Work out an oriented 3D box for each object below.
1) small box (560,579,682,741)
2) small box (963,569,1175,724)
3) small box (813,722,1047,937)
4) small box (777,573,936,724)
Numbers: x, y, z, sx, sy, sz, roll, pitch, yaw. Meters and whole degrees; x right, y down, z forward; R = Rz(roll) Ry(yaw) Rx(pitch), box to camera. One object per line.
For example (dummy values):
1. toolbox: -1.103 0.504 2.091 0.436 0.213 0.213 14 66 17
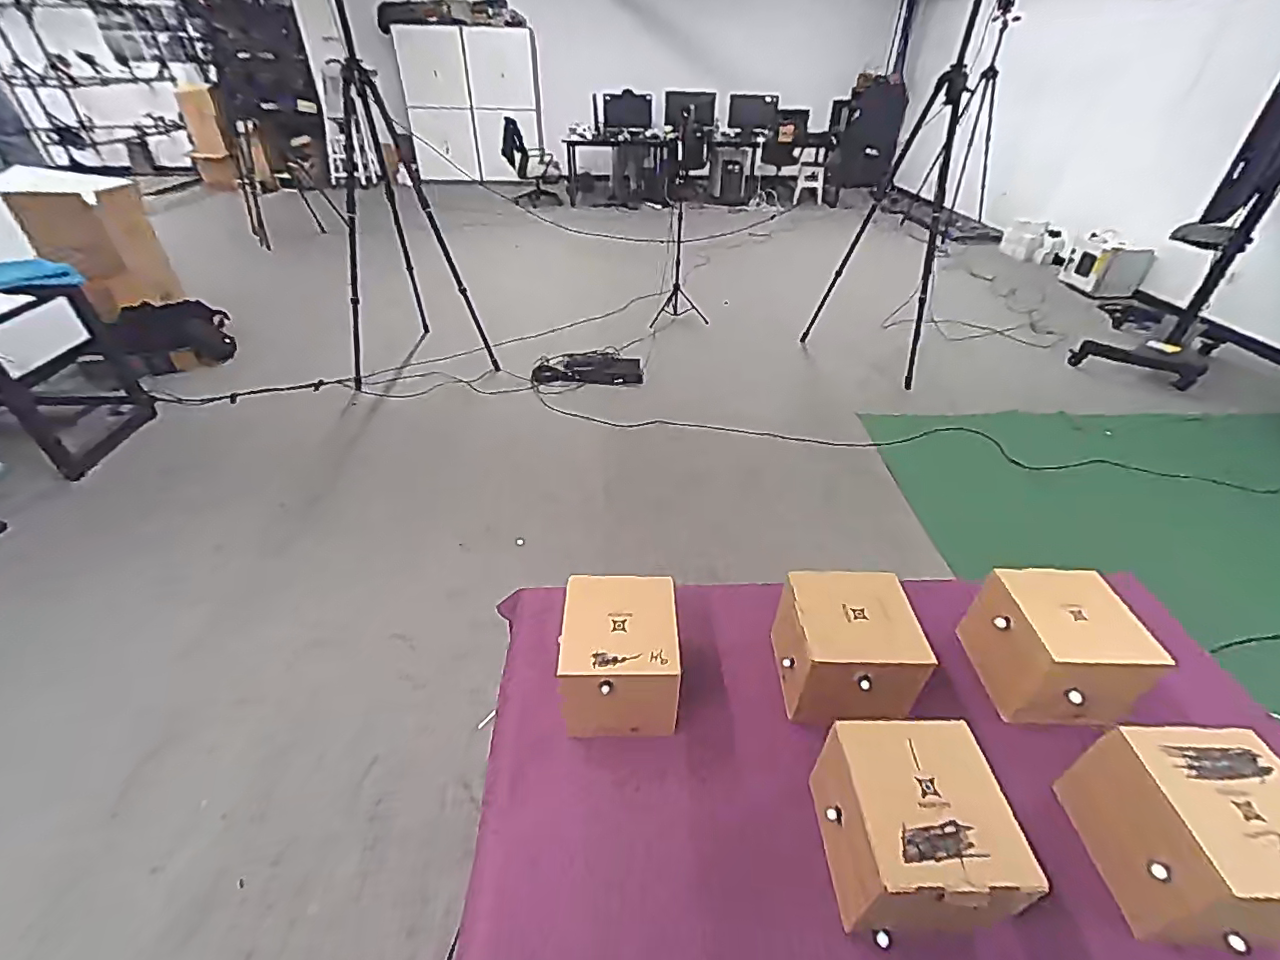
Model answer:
1. small box: -0.027 0.272 0.827 0.168 0.176 0.179 0 37 -1
2. small box: 0.646 0.260 0.844 0.168 0.176 0.179 1 37 1
3. small box: 0.320 0.413 0.642 0.168 0.176 0.179 0 36 0
4. small box: 0.318 0.263 0.841 0.179 0.176 0.168 1 38 1
